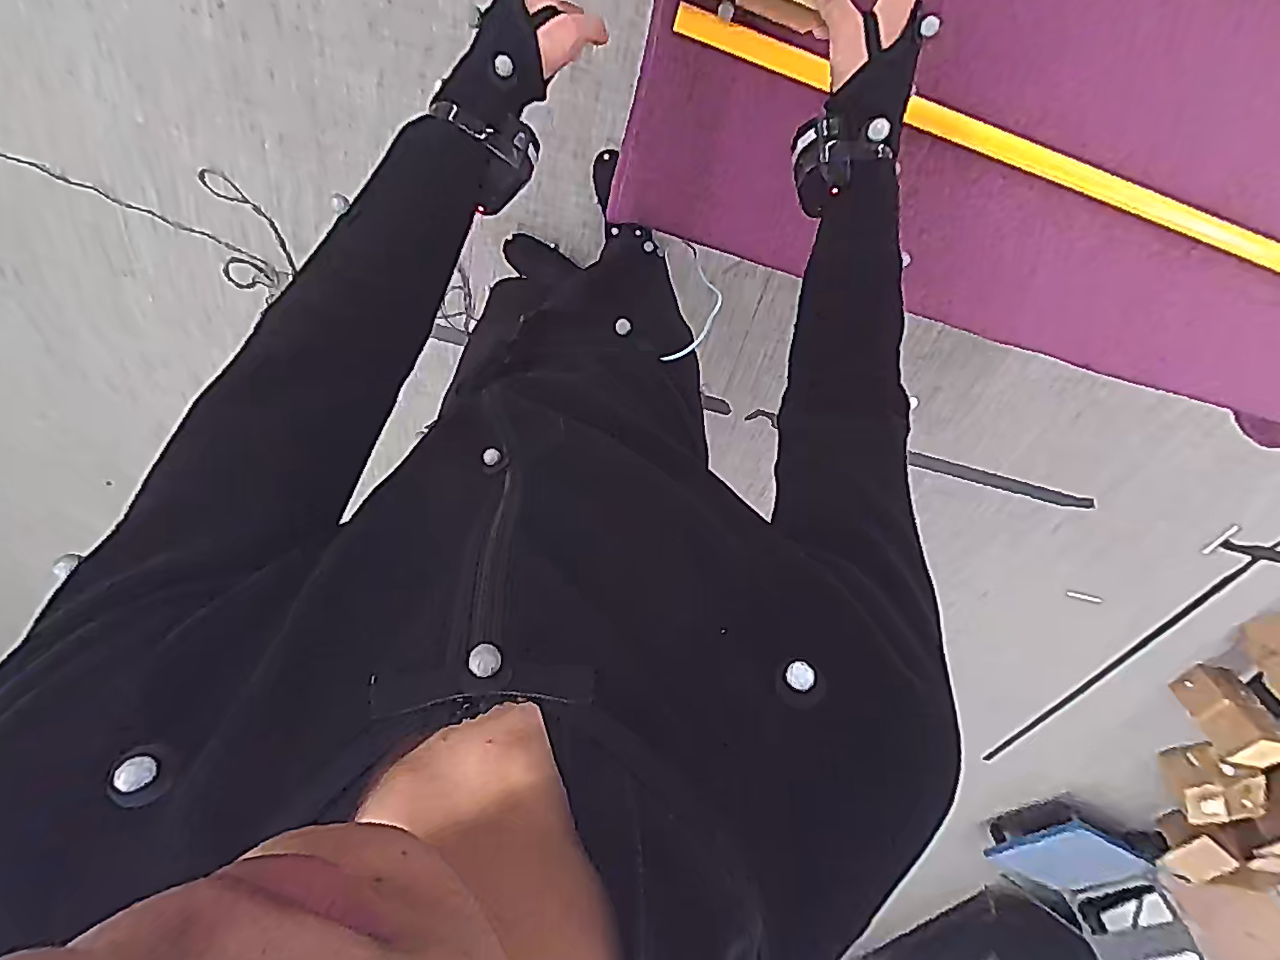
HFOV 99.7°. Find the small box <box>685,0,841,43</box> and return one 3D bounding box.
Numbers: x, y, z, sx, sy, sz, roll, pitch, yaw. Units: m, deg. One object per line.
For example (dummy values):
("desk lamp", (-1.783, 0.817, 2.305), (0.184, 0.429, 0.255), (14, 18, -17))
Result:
("small box", (0.104, -0.510, 0.467), (0.179, 0.176, 0.168), (15, 127, -8))
